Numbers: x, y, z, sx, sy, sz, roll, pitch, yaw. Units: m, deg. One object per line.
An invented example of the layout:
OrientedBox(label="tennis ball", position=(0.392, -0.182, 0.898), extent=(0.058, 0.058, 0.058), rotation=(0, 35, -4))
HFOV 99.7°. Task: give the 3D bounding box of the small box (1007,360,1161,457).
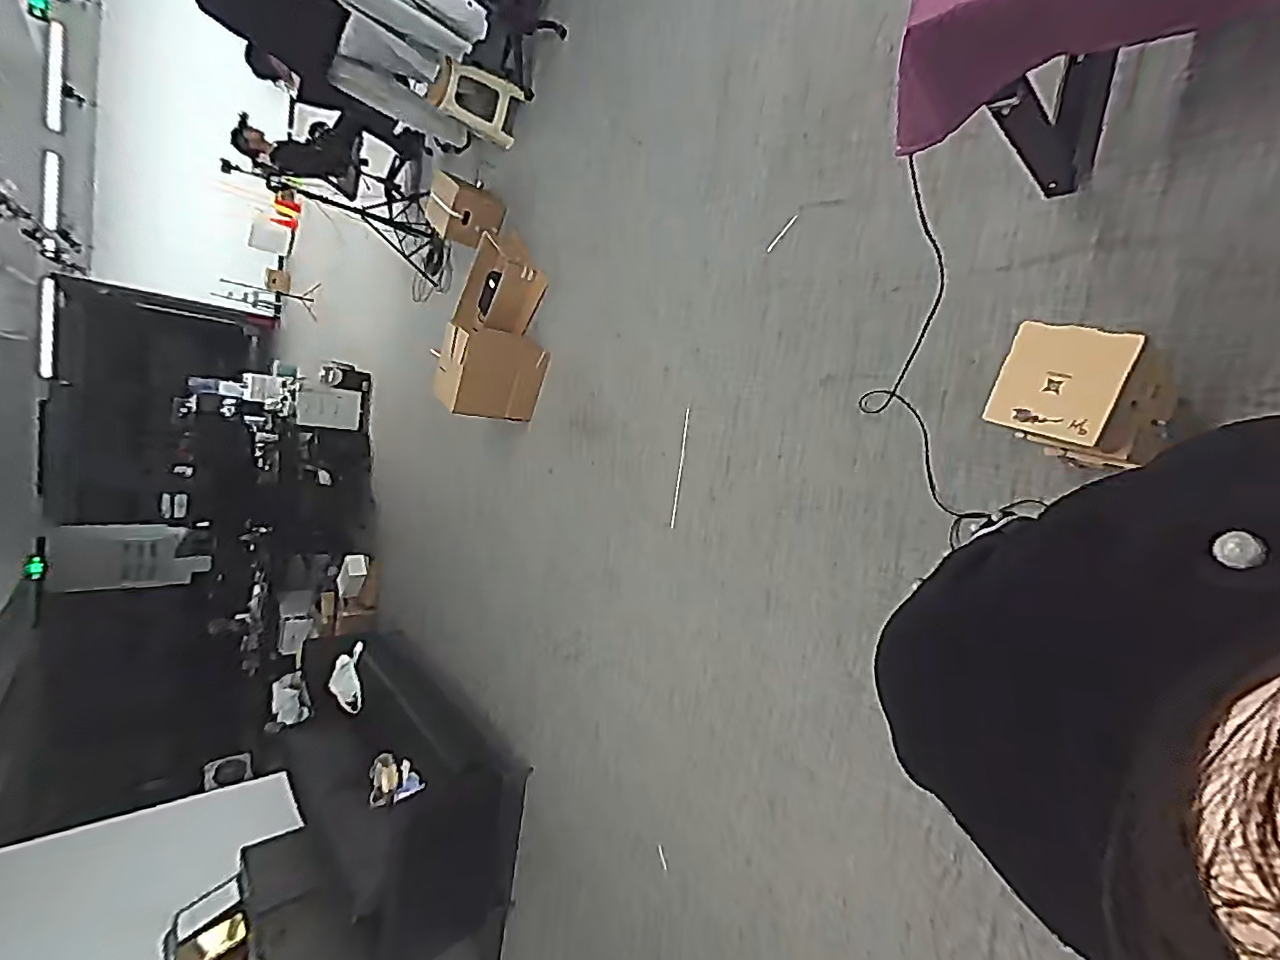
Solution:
OrientedBox(label="small box", position=(0.850, -0.144, 1.035), extent=(0.179, 0.176, 0.168), rotation=(24, 106, 45))

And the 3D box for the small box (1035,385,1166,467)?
OrientedBox(label="small box", position=(0.975, -0.129, 1.142), extent=(0.168, 0.176, 0.179), rotation=(20, 102, 46))

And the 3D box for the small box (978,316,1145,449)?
OrientedBox(label="small box", position=(0.725, -0.163, 0.928), extent=(0.168, 0.176, 0.179), rotation=(30, 109, 45))
